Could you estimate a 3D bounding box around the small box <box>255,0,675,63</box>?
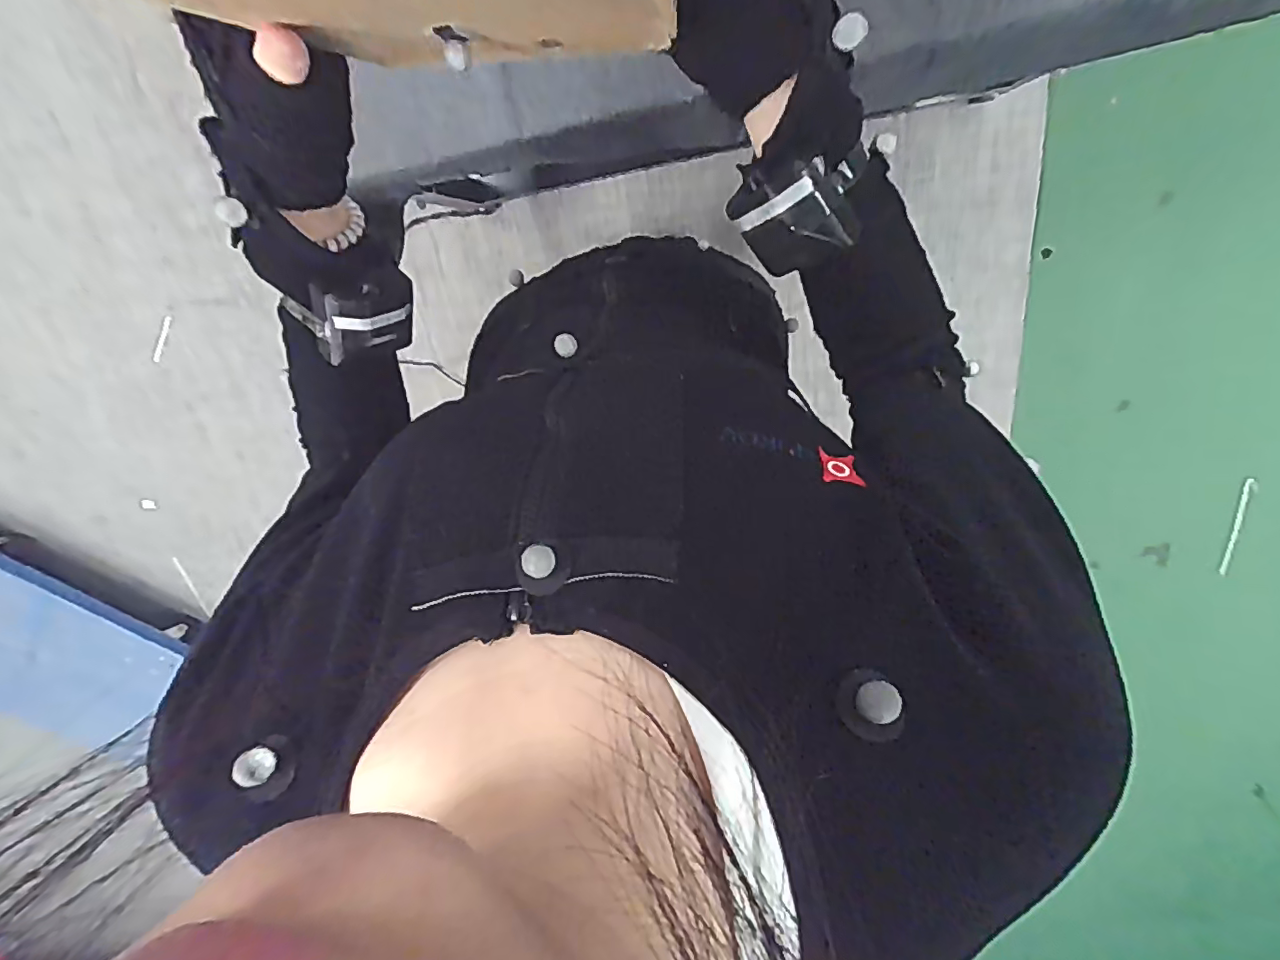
[{"bbox_3d":[-0.076,-0.265,0.179,0.168,0.176,0.179,2,121,8],"label":"small box"}]
